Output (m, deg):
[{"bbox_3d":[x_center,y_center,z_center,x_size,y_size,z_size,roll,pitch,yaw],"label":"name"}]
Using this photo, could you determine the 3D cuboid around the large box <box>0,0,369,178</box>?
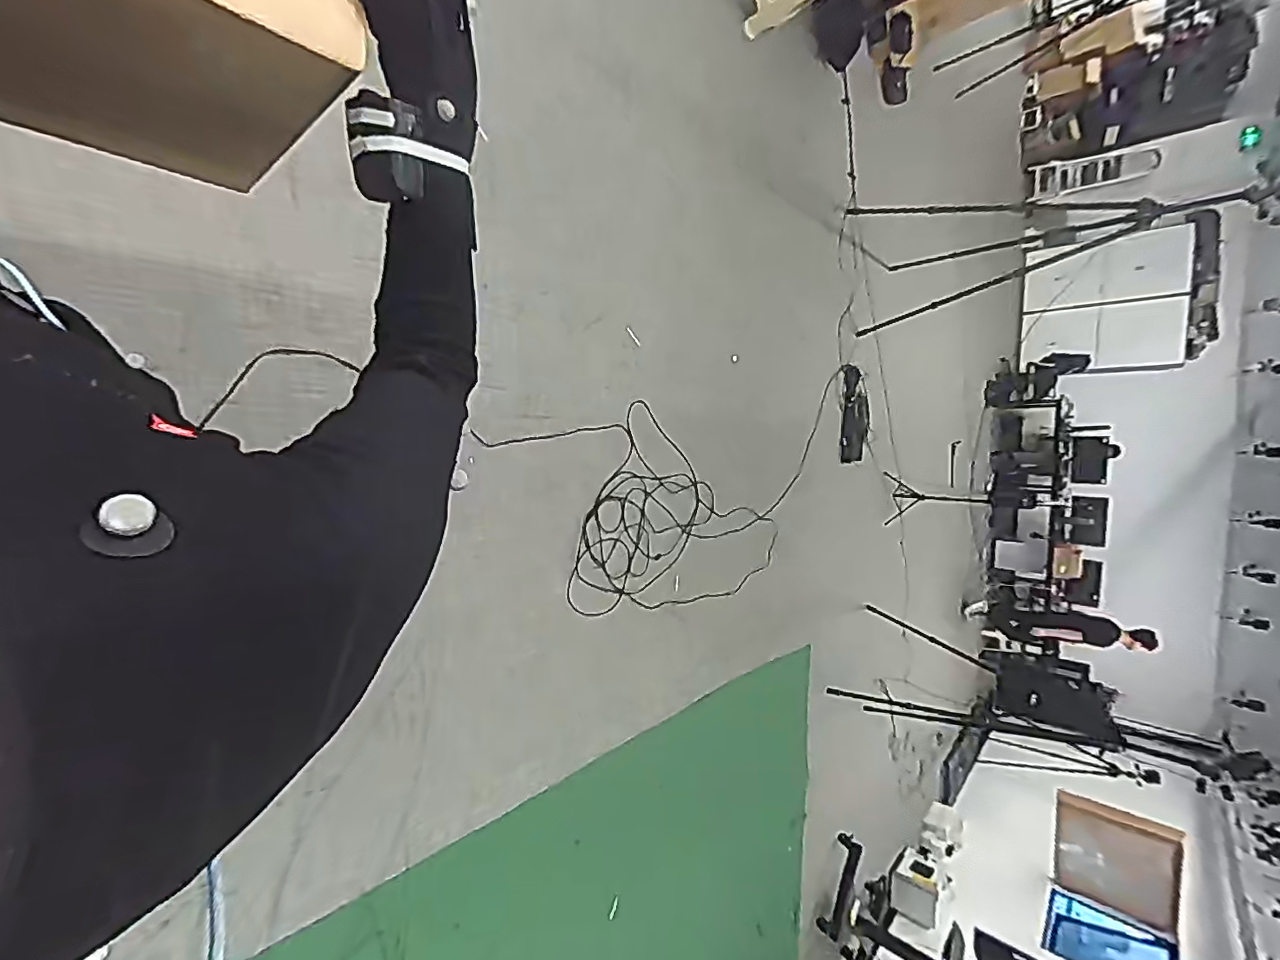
[{"bbox_3d":[-0.427,-0.439,0.309,0.408,0.320,0.320,-4,99,-48],"label":"large box"}]
